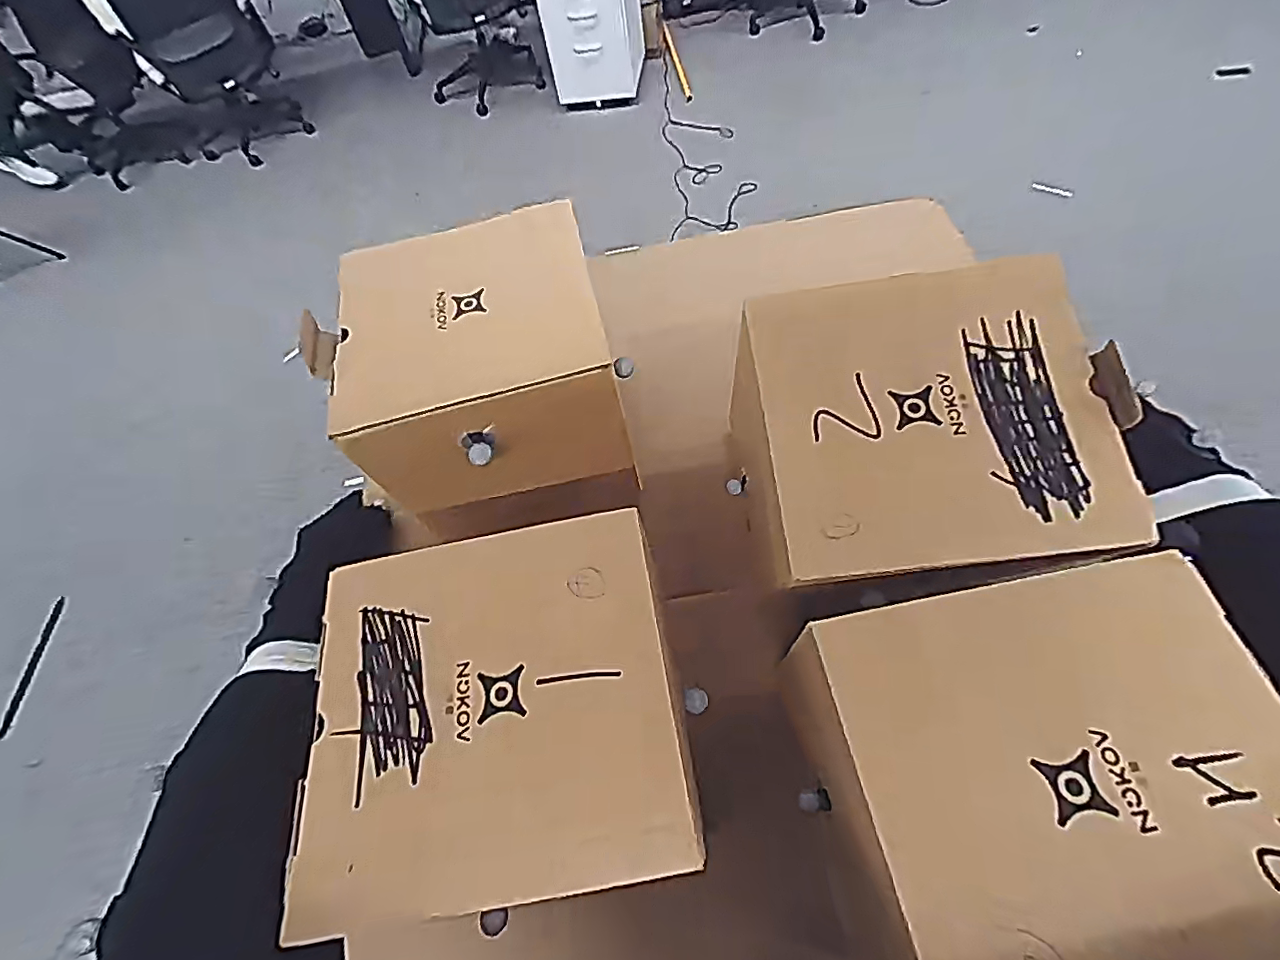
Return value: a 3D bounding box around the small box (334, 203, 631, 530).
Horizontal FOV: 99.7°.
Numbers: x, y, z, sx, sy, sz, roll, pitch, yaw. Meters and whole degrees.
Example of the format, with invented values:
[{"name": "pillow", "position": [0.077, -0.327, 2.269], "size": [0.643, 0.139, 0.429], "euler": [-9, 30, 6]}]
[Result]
[{"name": "small box", "position": [-0.110, -0.080, 0.437], "size": [0.179, 0.176, 0.168], "euler": [-15, 60, 1]}]
